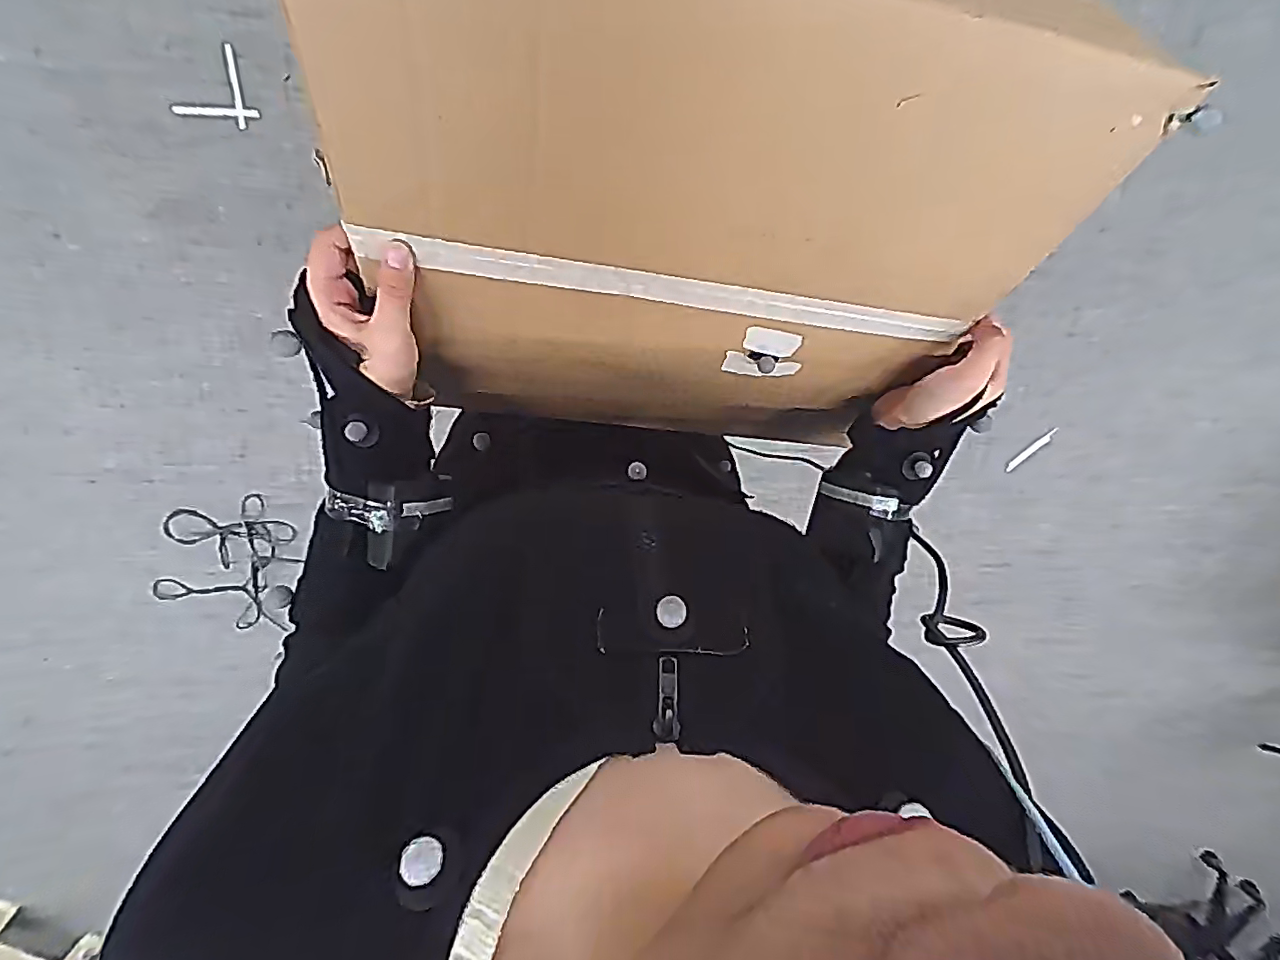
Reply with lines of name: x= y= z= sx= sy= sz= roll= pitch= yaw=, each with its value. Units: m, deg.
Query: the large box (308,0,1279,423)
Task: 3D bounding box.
large box: x=0.041 y=-0.266 z=0.390 sx=0.408 sy=0.320 sz=0.320 roll=4 pitch=151 yaw=-11
